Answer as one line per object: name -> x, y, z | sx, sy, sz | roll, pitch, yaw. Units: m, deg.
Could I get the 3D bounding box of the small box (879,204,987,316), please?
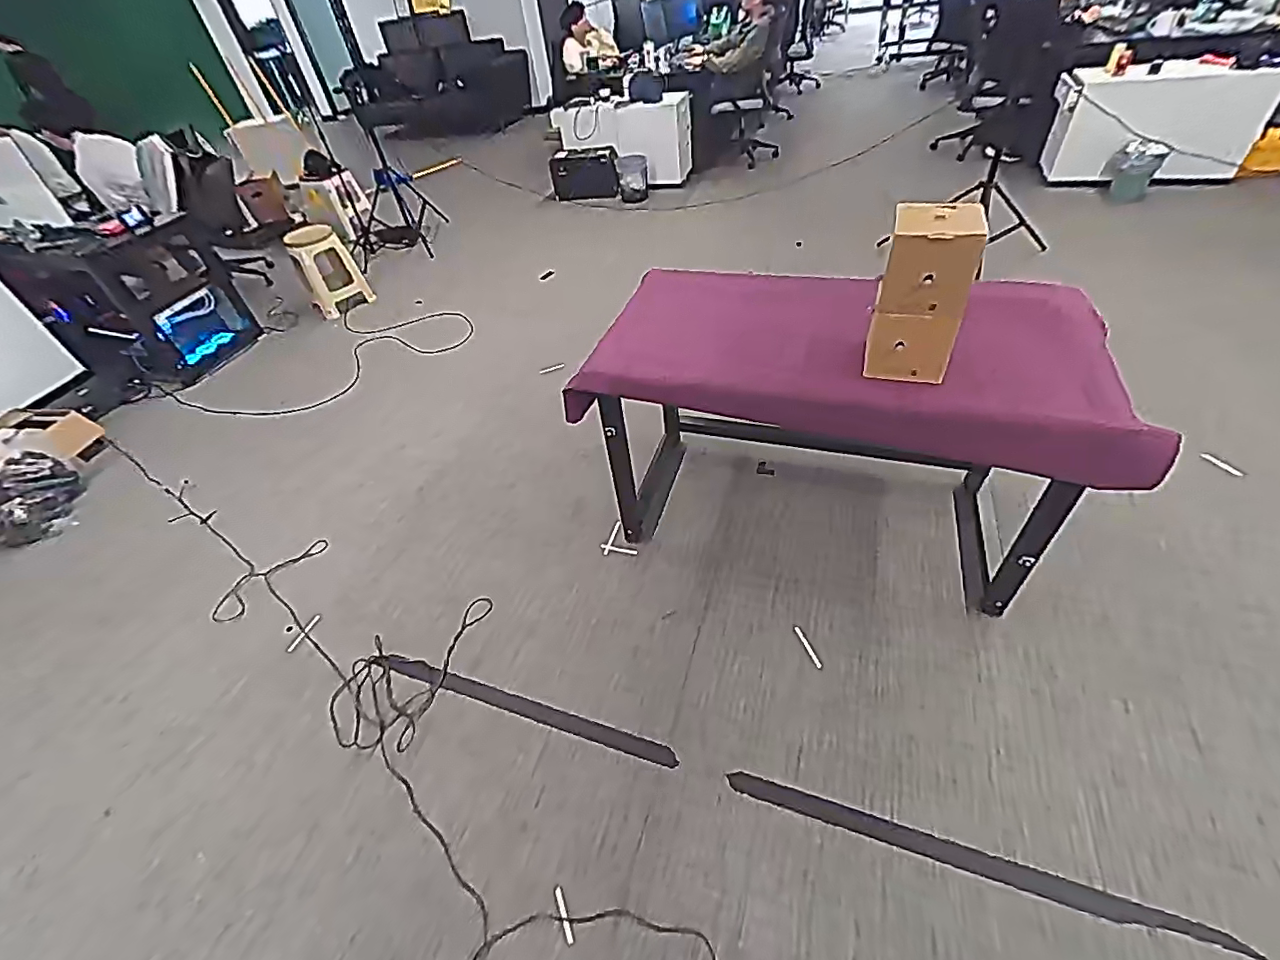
small box -> 0.610, -0.462, 1.139 | 0.168, 0.176, 0.179 | 10, 48, 19

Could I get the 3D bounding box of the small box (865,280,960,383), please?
small box -> 0.625, -0.343, 1.250 | 0.168, 0.176, 0.179 | 10, 47, 18
